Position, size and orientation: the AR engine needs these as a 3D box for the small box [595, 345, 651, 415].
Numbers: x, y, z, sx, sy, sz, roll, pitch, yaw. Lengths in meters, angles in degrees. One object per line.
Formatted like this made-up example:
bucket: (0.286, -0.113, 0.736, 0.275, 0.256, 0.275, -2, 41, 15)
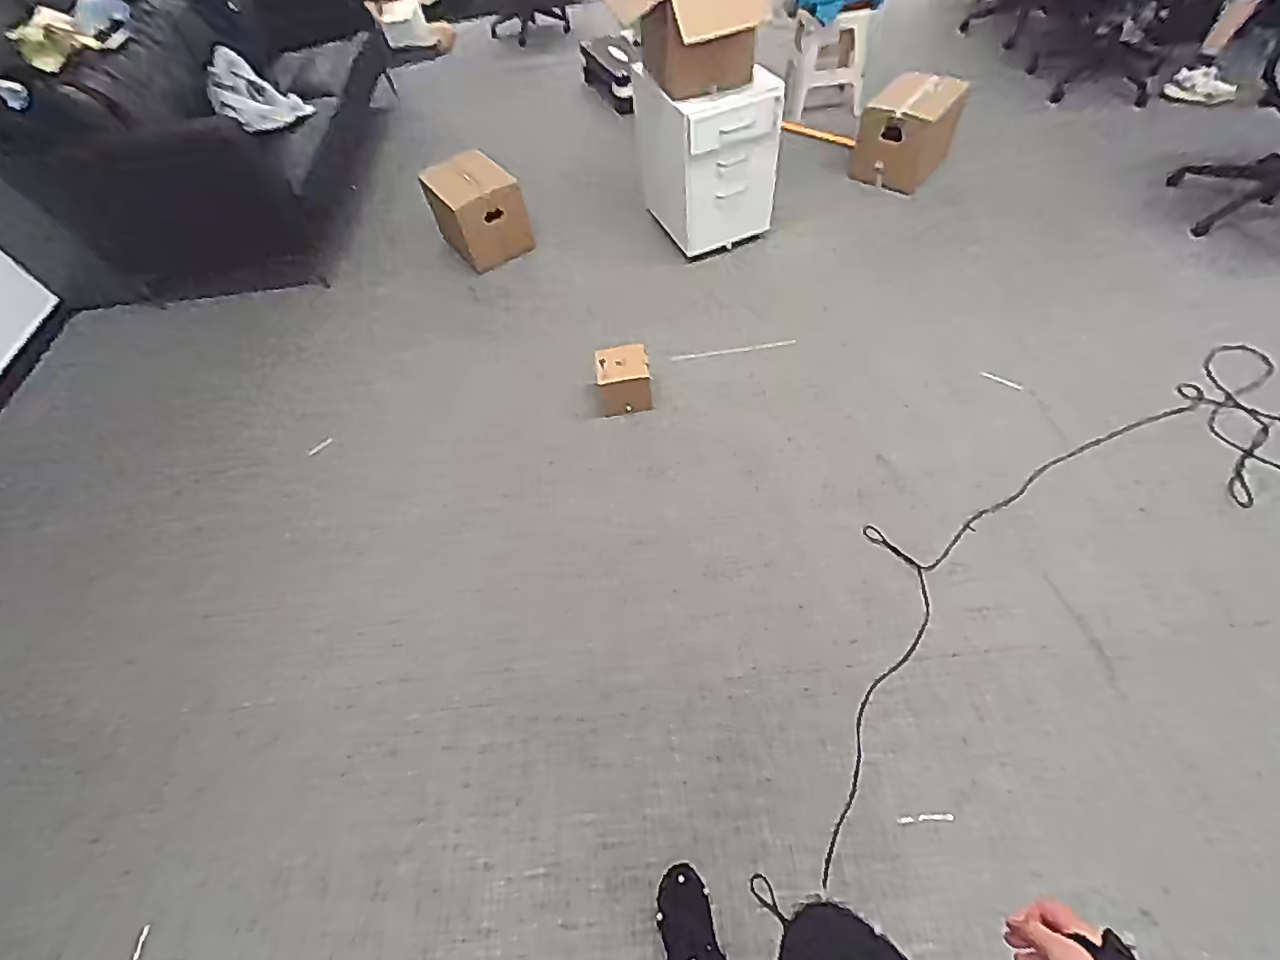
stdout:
small box: (-0.056, -0.349, 1.906, 0.179, 0.176, 0.168, -9, 56, 1)
